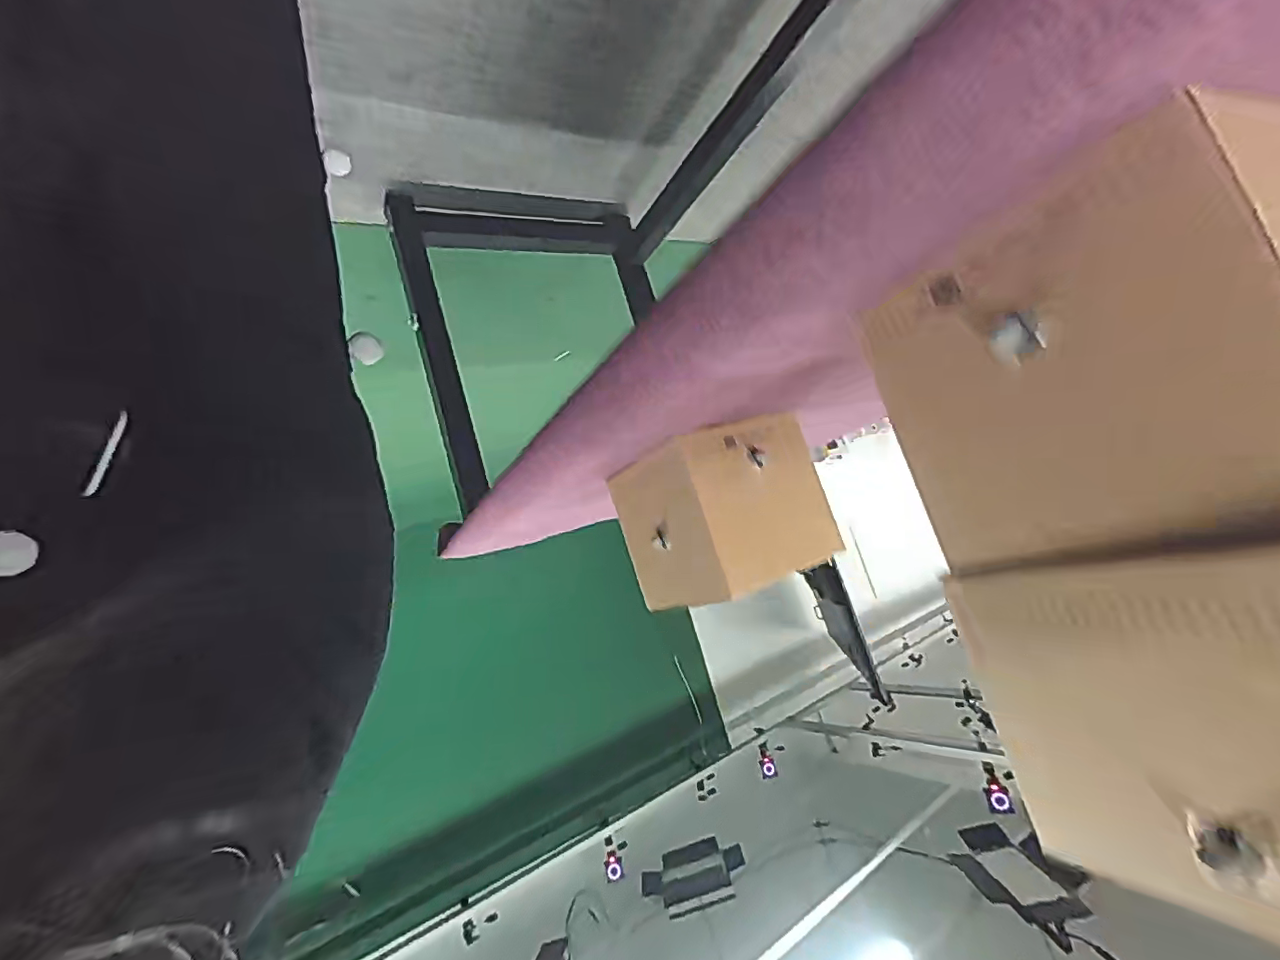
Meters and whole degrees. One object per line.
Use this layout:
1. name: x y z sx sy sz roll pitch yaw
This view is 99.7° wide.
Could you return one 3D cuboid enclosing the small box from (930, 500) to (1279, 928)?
1. small box: 0.289 0.088 0.287 0.168 0.176 0.179 -15 172 -23
